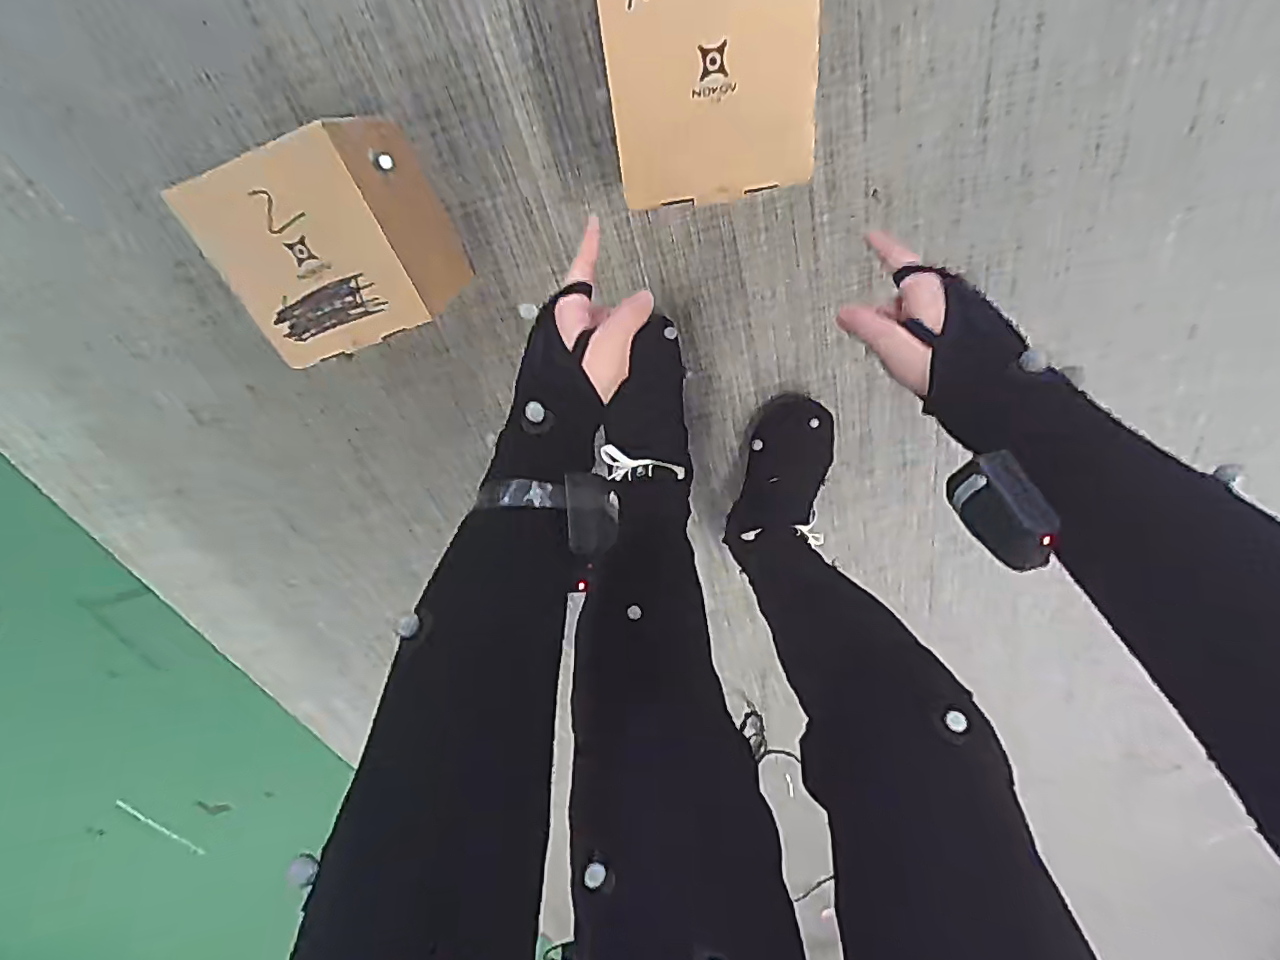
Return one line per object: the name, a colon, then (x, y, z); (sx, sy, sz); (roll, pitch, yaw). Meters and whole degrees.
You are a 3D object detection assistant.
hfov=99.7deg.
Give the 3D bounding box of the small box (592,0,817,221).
small box: (0.054, -0.356, 0.491); (0.168, 0.176, 0.179); (-8, 125, 4)
